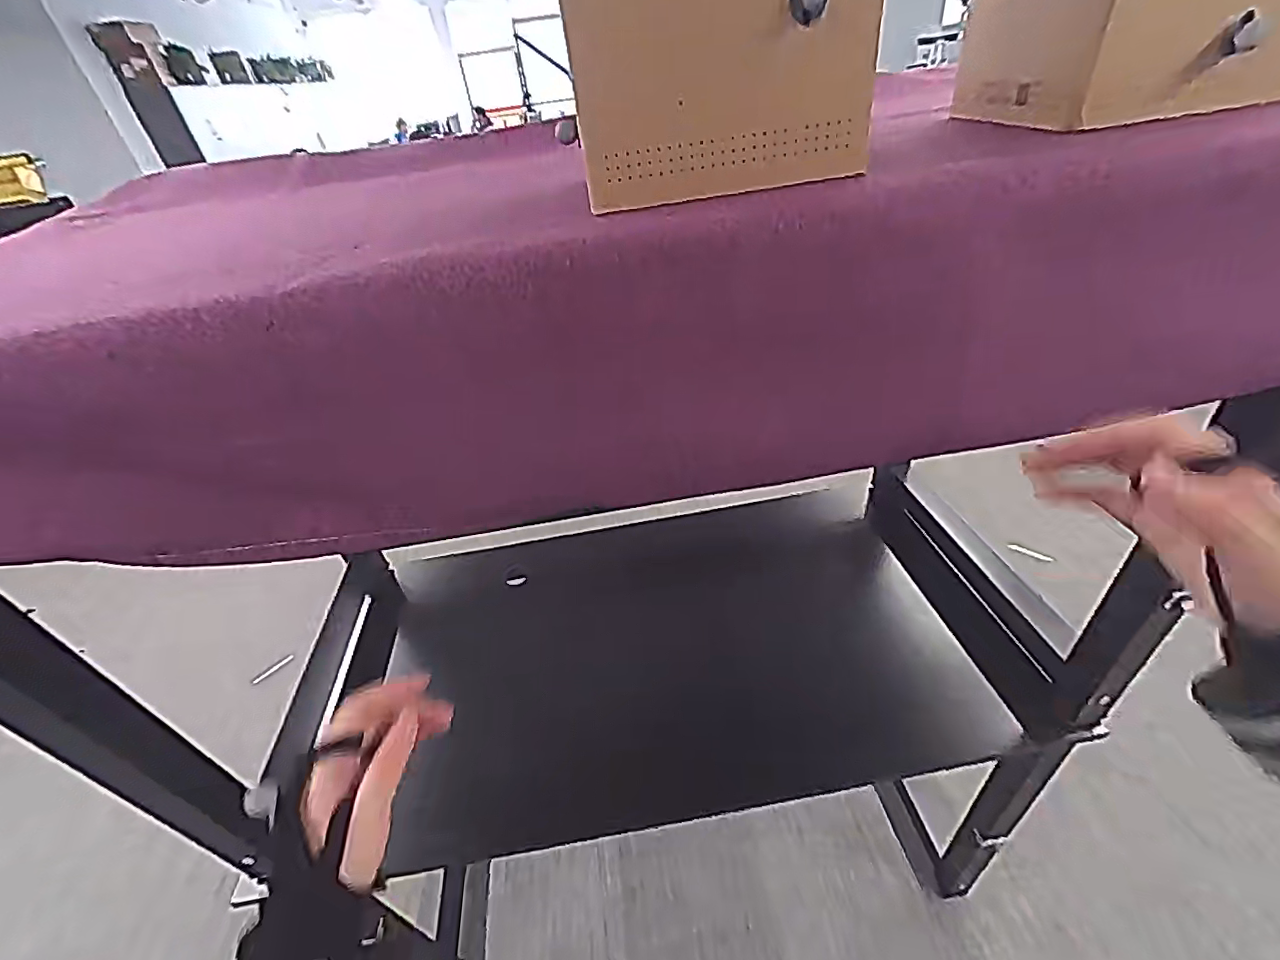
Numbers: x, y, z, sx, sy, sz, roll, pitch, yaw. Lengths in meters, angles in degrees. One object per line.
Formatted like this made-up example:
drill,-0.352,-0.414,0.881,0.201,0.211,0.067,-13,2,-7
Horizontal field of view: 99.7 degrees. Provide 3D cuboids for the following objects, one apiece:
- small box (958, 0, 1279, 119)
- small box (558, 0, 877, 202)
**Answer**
small box,0.356,-0.361,0.366,0.179,0.176,0.168,-7,36,2
small box,0.040,-0.296,0.351,0.179,0.176,0.168,-9,36,0
